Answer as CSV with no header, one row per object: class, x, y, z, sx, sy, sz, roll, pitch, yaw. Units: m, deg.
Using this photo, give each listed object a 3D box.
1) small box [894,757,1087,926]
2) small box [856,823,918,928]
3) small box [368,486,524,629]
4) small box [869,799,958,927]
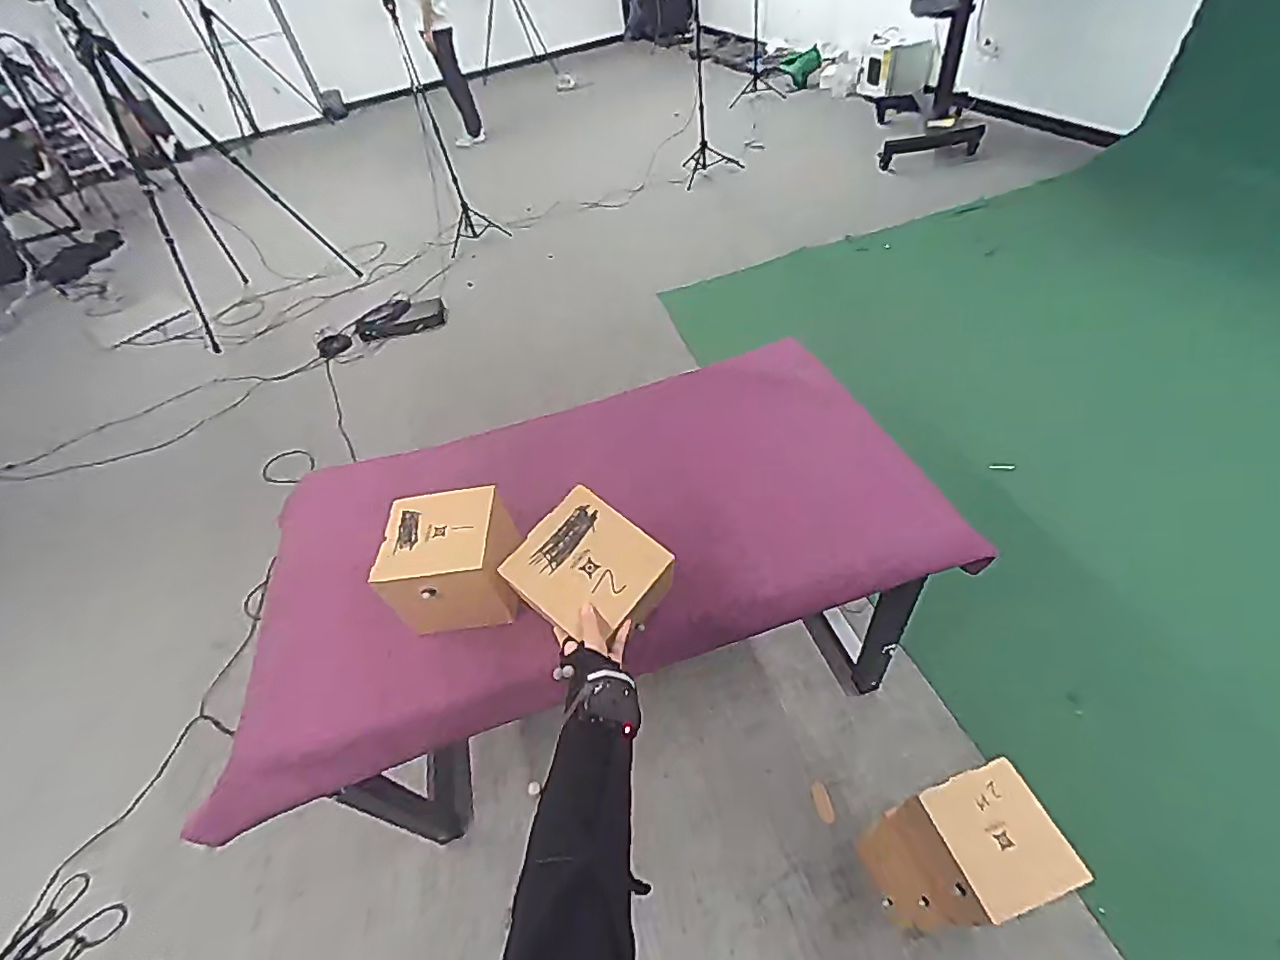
small box,0.547,0.584,0.873,0.168,0.176,0.179,-18,49,-6
small box,0.569,0.798,1.120,0.179,0.176,0.168,-17,47,-5
small box,-0.308,0.134,0.900,0.179,0.176,0.168,-8,47,3
small box,0.552,0.690,1.000,0.168,0.176,0.179,-19,49,-7
